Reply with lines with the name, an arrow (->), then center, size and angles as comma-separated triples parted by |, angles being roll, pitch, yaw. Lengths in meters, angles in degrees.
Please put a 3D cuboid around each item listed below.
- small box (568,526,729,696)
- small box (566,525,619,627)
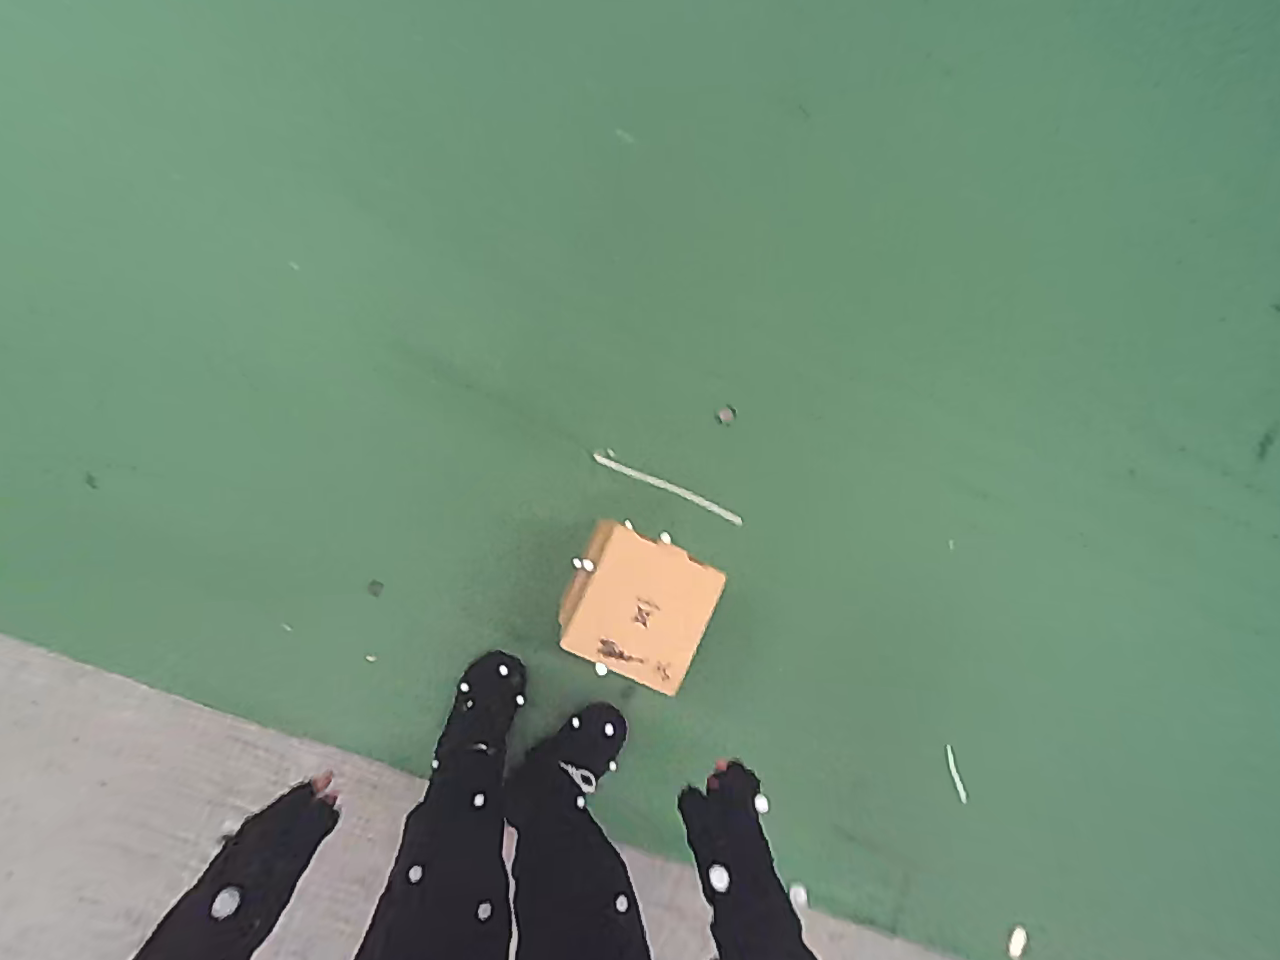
small box -> 0.003, 0.178, 0.794 | 0.168, 0.176, 0.179 | 26, 84, -5
small box -> -0.022, 0.188, 0.956 | 0.168, 0.176, 0.179 | 25, 86, -5
